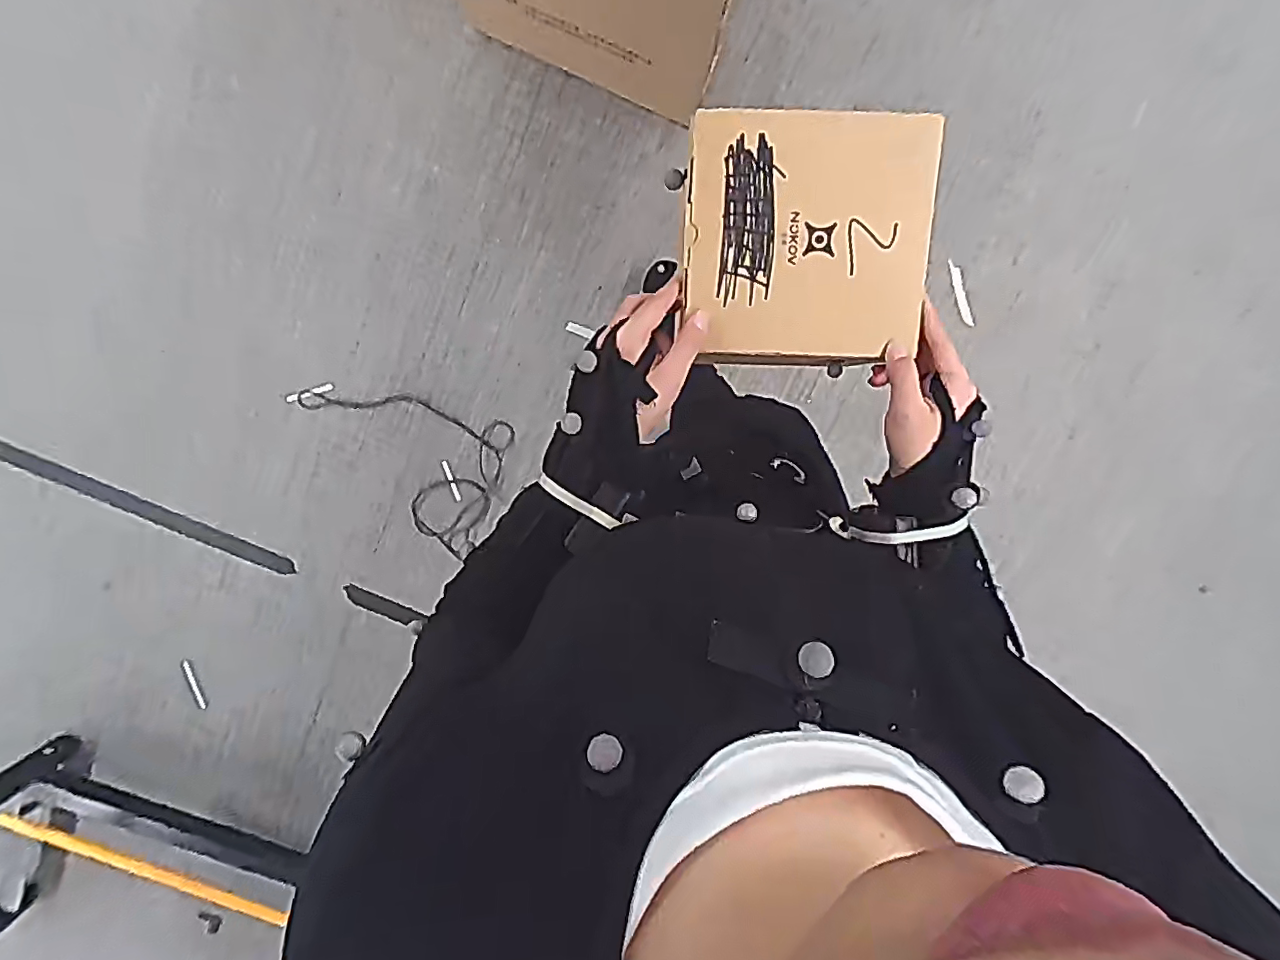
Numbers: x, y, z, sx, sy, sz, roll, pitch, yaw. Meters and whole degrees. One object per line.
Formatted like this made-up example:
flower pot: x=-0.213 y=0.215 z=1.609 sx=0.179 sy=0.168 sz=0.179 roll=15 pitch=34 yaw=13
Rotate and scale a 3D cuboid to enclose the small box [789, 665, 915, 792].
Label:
small box: x=0.457 y=0.540 z=1.200 sx=0.179 sy=0.176 sz=0.168 roll=24 pitch=99 yaw=-6
